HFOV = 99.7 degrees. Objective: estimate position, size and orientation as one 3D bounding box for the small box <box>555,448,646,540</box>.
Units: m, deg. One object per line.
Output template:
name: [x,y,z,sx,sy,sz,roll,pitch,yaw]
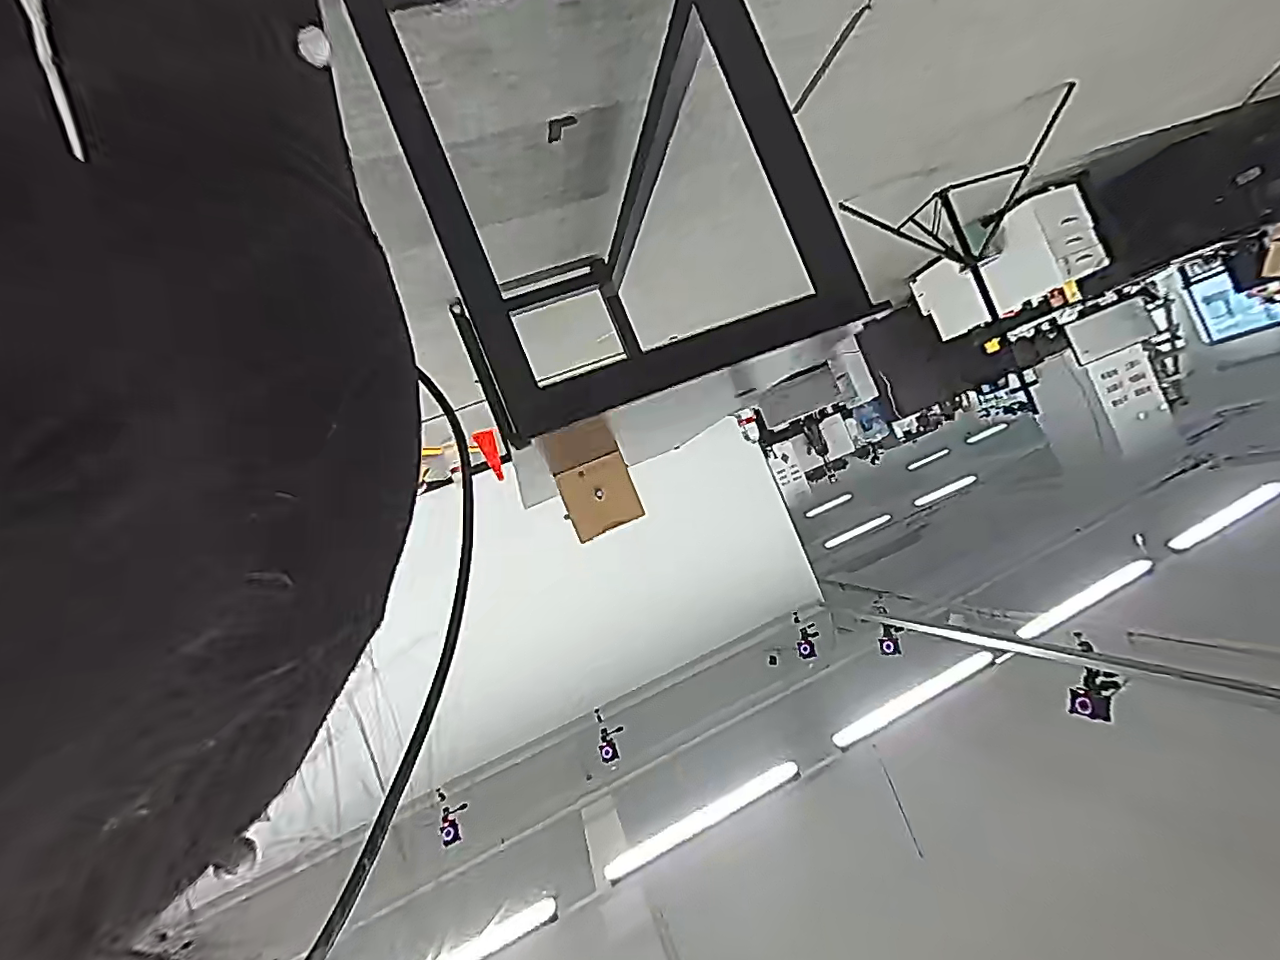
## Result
small box: [-0.101,0.034,1.317,0.168,0.176,0.179,-23,177,-9]
